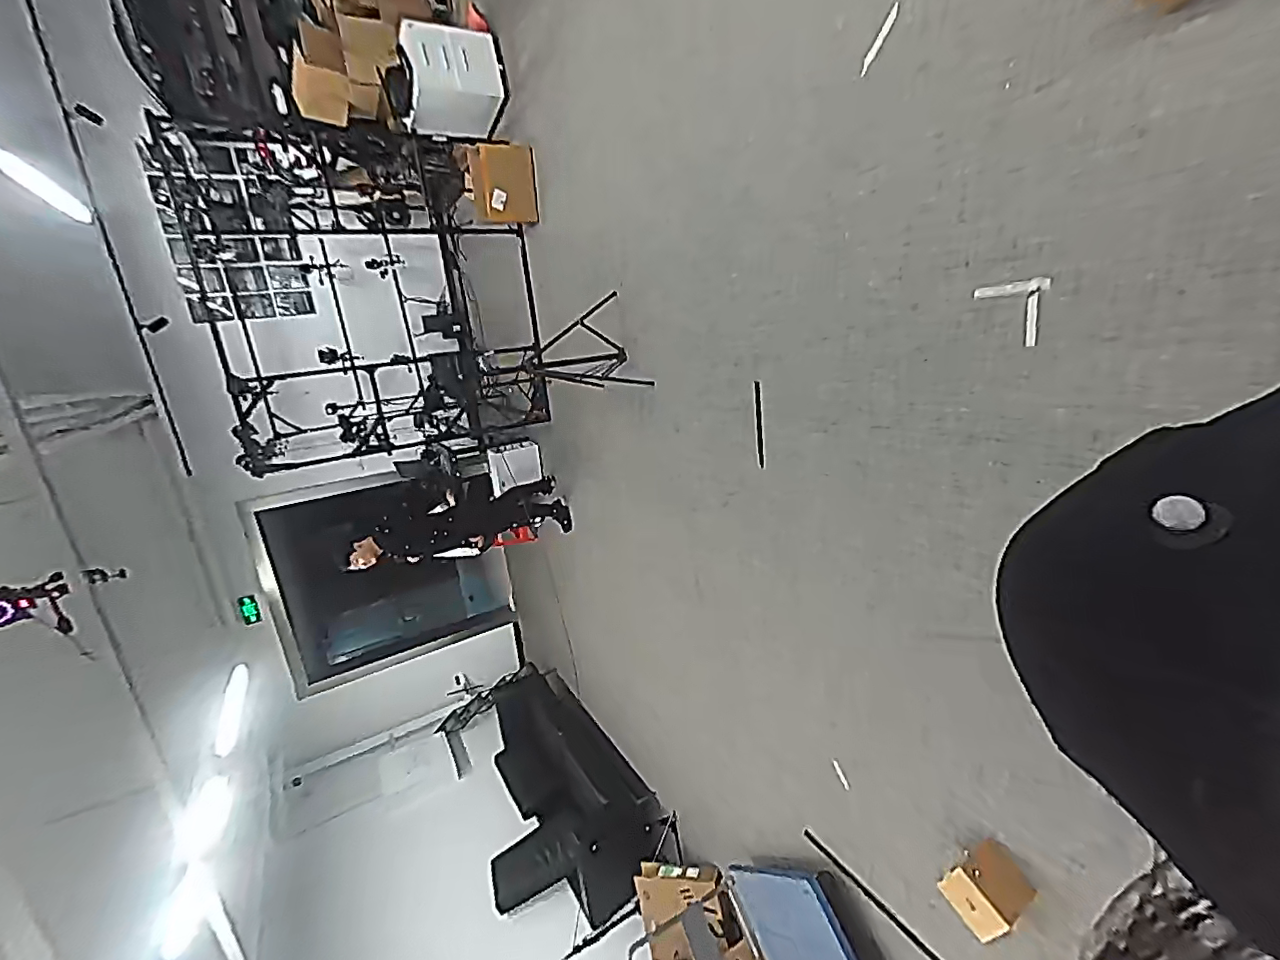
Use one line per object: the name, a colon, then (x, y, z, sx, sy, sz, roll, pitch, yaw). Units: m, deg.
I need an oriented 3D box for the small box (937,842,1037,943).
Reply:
small box: (1.091, 1.291, 1.698, 0.179, 0.176, 0.168, 49, 143, 41)
